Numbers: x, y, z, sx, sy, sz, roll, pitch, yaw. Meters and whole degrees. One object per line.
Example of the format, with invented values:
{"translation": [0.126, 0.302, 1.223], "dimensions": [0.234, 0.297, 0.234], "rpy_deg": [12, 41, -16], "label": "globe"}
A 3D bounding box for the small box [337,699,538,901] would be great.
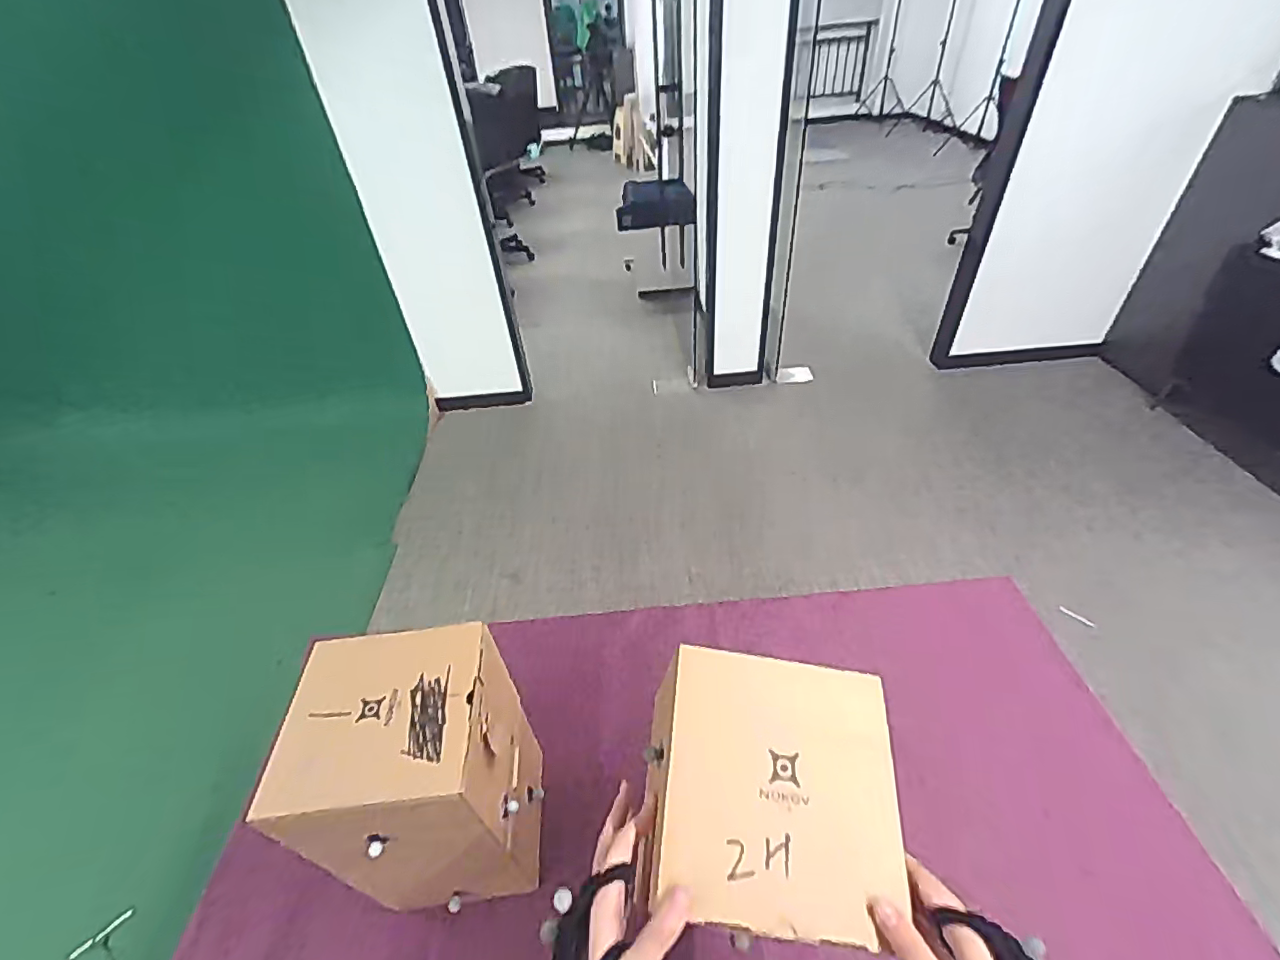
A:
{"translation": [-0.227, 0.393, 0.665], "dimensions": [0.179, 0.176, 0.168], "rpy_deg": [-6, 42, -2], "label": "small box"}

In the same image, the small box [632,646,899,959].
{"translation": [0.089, 0.262, 0.453], "dimensions": [0.168, 0.176, 0.179], "rpy_deg": [9, 56, 1], "label": "small box"}

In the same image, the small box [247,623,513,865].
{"translation": [-0.236, 0.271, 0.554], "dimensions": [0.179, 0.176, 0.168], "rpy_deg": [-8, 43, -1], "label": "small box"}
